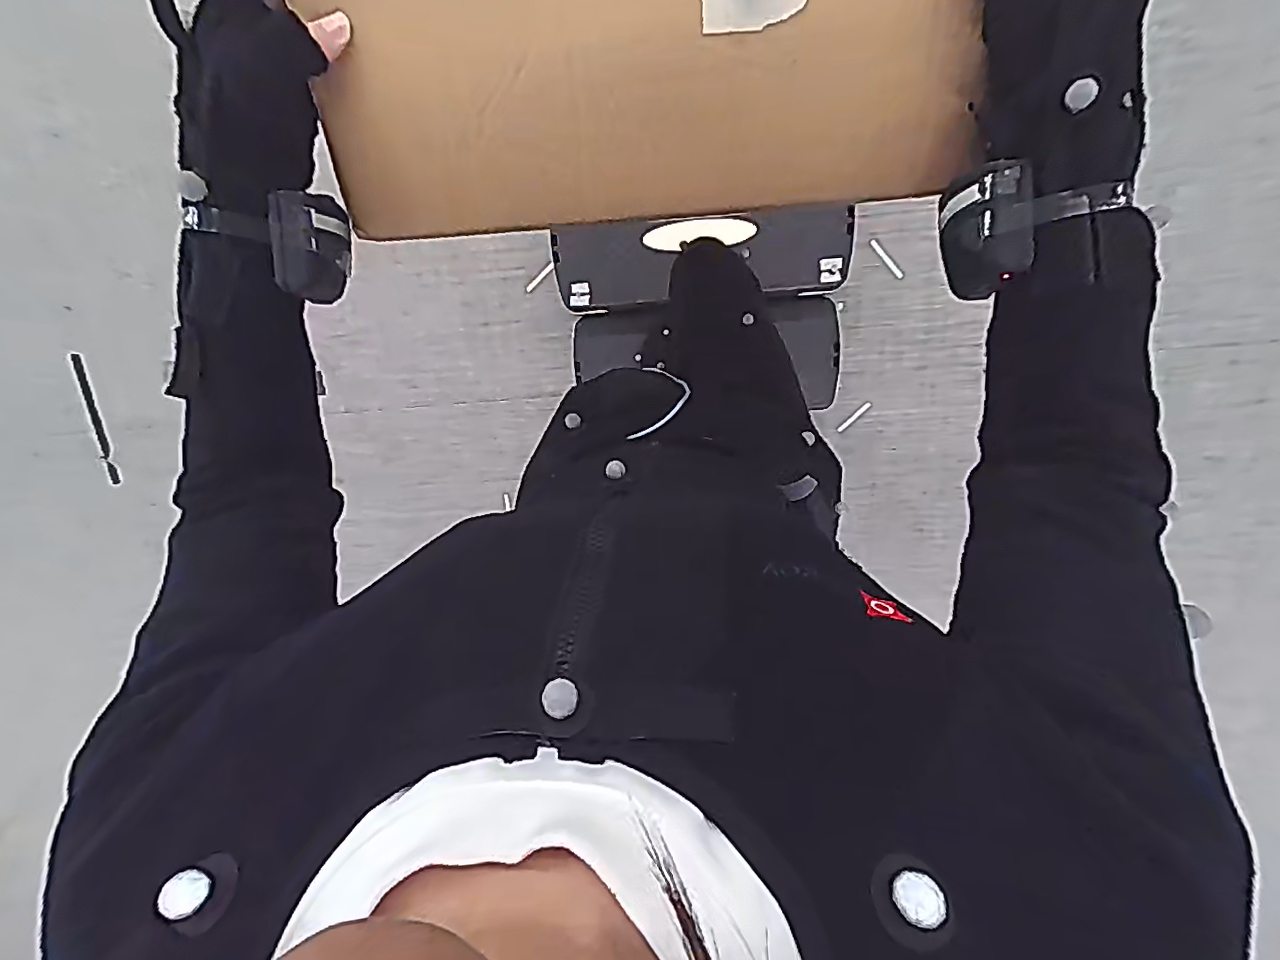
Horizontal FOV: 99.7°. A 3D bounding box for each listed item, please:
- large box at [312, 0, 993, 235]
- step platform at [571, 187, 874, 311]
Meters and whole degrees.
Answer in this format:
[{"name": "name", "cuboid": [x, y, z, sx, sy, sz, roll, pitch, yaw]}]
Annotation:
[{"name": "large box", "cuboid": [0.008, -0.386, 0.429, 0.408, 0.320, 0.320, -2, 117, 7]}, {"name": "step platform", "cuboid": [0.181, -0.575, 1.273, 0.684, 0.204, 0.286, -4, 107, 6]}]
